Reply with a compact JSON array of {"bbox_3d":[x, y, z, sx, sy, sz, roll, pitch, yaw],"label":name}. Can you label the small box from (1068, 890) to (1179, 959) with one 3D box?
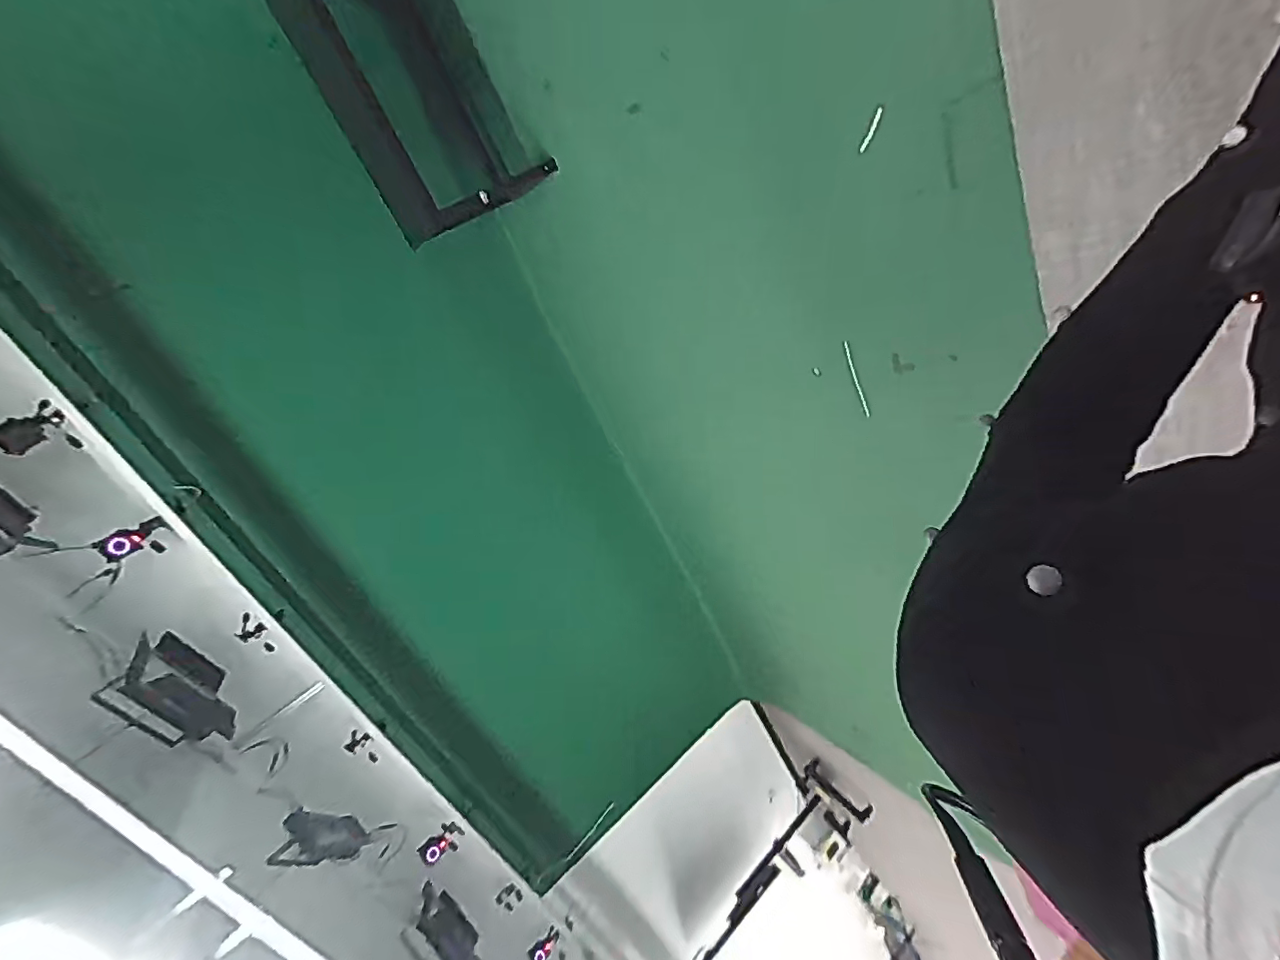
[{"bbox_3d":[1.238,1.213,1.380,0.168,0.176,0.179,14,137,58],"label":"small box"}]
